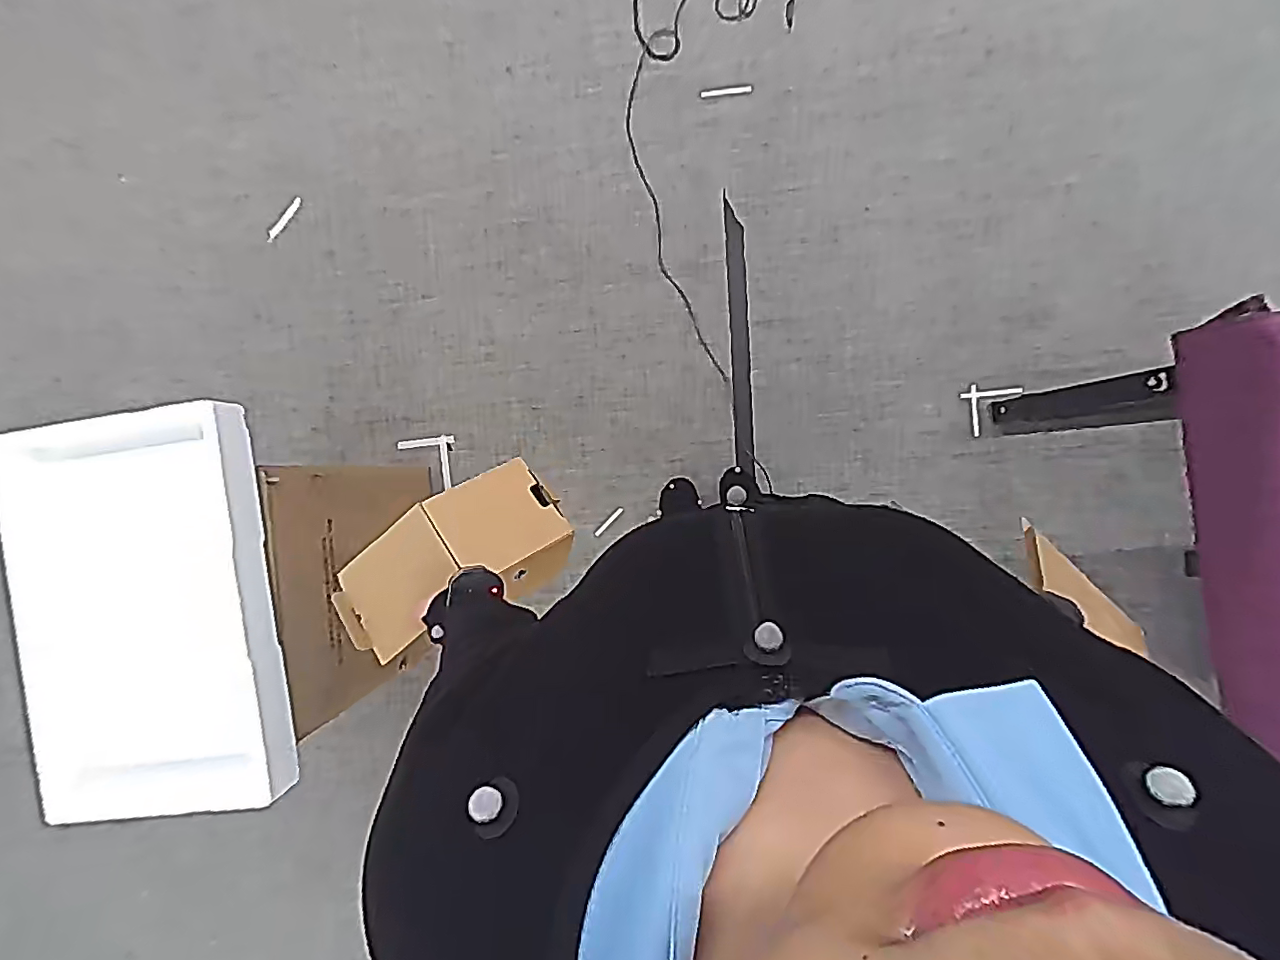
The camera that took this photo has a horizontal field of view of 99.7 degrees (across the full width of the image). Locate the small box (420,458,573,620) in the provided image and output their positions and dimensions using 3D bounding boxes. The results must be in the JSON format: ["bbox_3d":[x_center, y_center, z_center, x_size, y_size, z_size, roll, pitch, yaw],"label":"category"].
[{"bbox_3d":[-0.228,0.101,0.882,0.179,0.176,0.168,-28,68,-27],"label":"small box"}]
